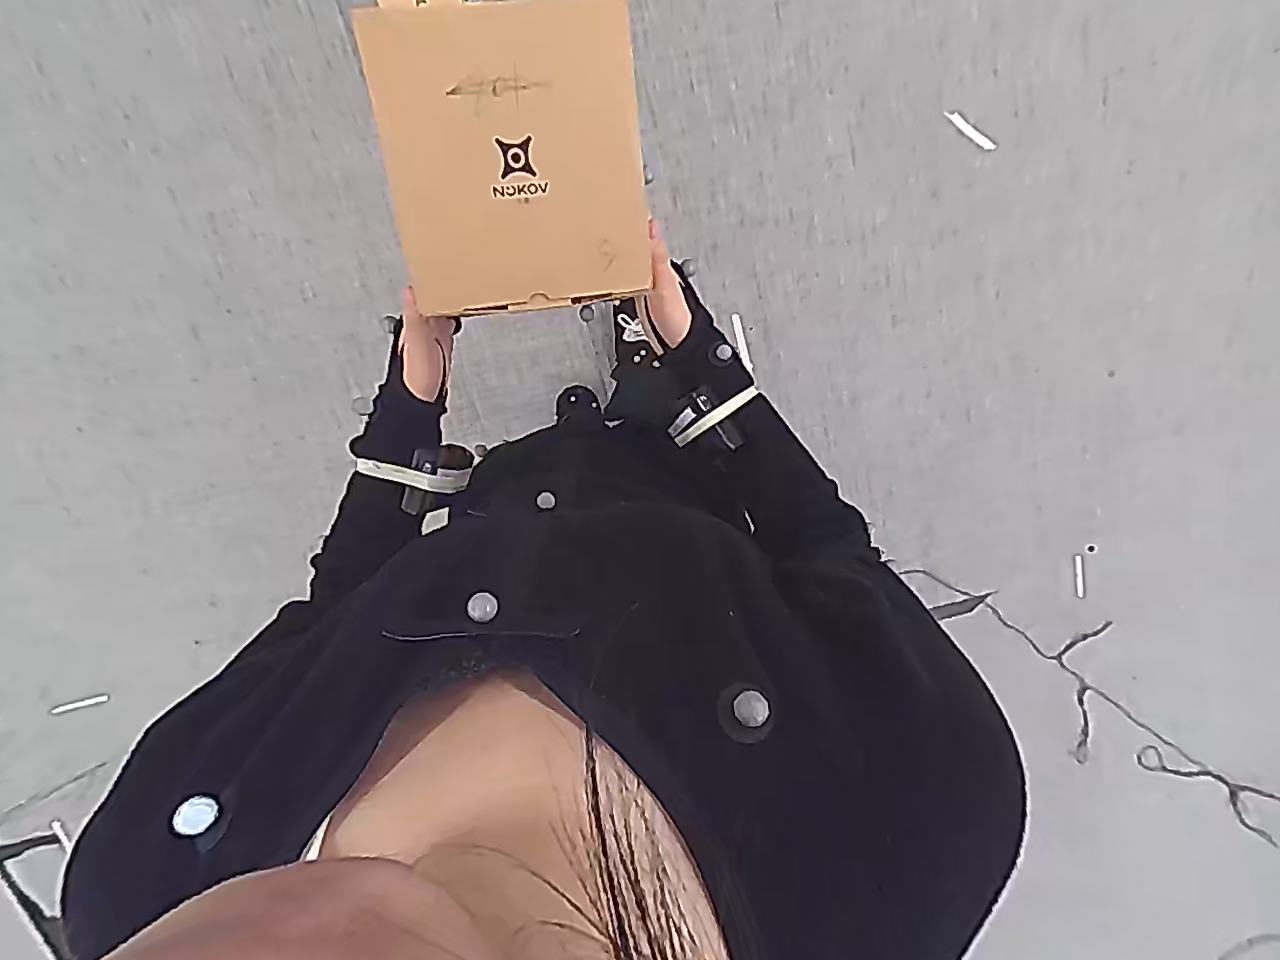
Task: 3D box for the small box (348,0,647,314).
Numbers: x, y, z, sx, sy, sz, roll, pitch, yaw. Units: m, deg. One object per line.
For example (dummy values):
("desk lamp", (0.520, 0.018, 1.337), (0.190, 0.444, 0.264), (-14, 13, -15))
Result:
("small box", (-0.094, -0.230, 0.425), (0.168, 0.176, 0.179), (-9, 107, -7))
